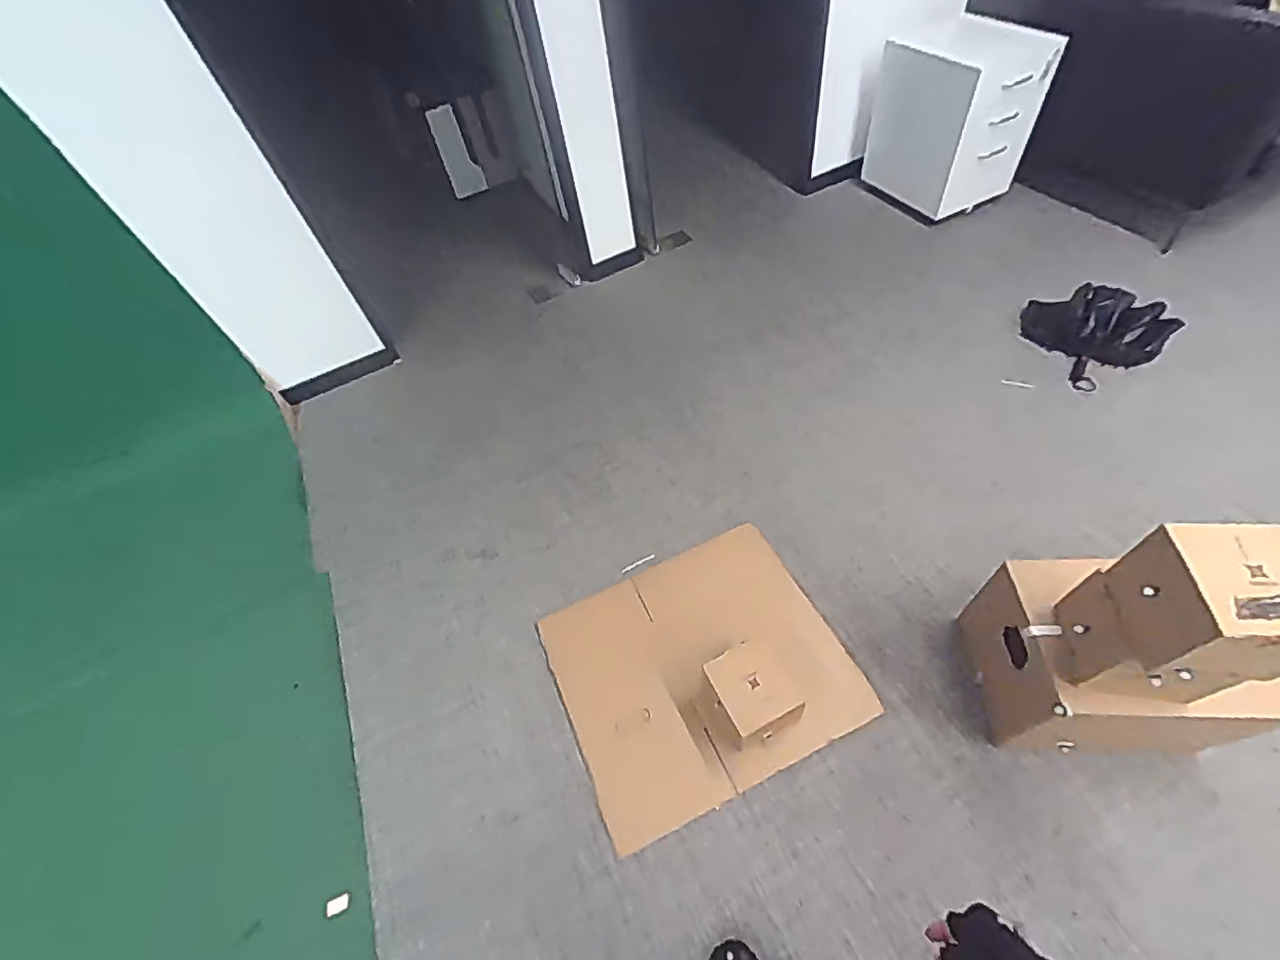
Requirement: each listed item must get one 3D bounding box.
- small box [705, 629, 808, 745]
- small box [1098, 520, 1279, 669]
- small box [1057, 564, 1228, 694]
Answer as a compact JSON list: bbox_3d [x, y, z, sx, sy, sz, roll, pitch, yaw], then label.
[{"bbox_3d":[0.266,0.486,1.261,0.168,0.176,0.179,-27,54,-8],"label":"small box"},{"bbox_3d":[0.853,0.178,0.814,0.168,0.176,0.179,-3,55,8],"label":"small box"},{"bbox_3d":[0.879,0.265,0.955,0.179,0.176,0.168,2,53,11],"label":"small box"}]
